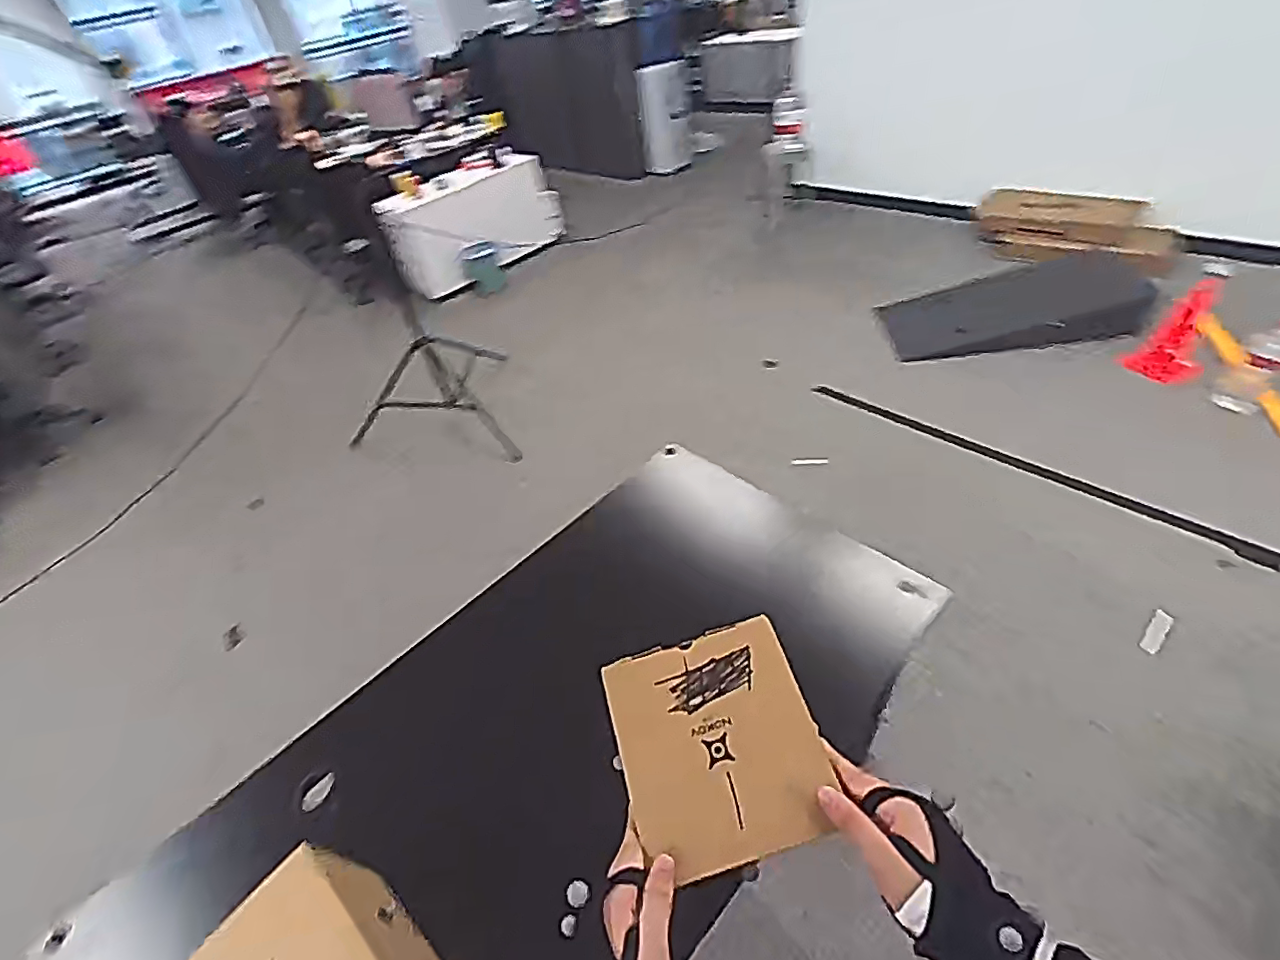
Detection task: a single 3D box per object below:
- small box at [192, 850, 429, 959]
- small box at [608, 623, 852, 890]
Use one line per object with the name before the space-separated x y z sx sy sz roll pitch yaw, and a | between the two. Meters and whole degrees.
small box | -0.341 0.535 0.556 0.168 0.176 0.179 24 55 32
small box | 0.077 0.267 0.525 0.168 0.176 0.179 -17 56 0
